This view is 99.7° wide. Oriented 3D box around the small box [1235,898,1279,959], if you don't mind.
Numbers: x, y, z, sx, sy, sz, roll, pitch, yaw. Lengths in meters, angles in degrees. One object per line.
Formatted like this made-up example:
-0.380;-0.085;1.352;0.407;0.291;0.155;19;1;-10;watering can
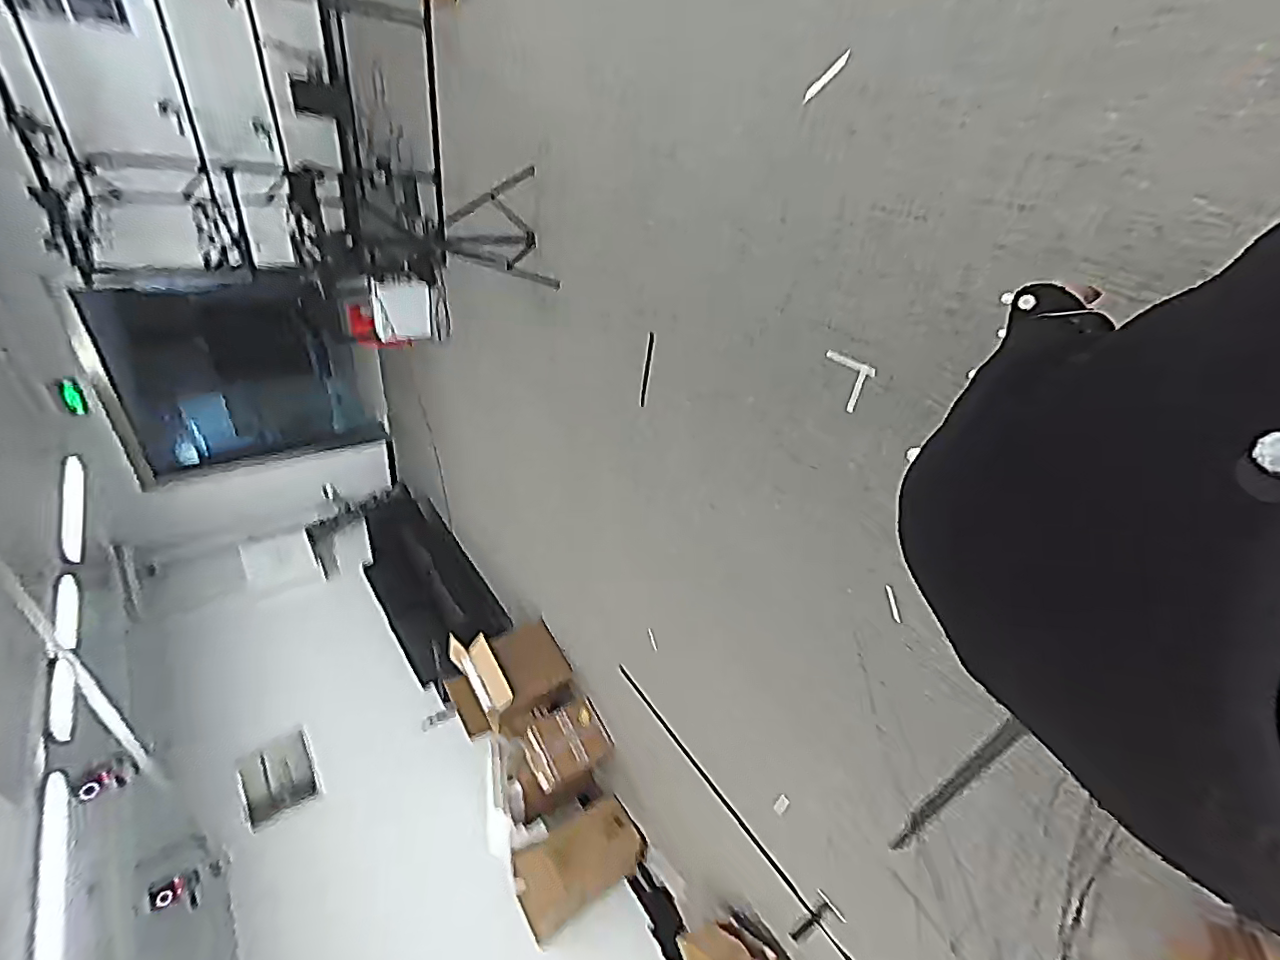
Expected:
1.387;0.986;1.096;0.168;0.176;0.179;41;135;36;small box

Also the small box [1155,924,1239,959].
1.343;1.194;1.251;0.179;0.176;0.168;41;135;37;small box
